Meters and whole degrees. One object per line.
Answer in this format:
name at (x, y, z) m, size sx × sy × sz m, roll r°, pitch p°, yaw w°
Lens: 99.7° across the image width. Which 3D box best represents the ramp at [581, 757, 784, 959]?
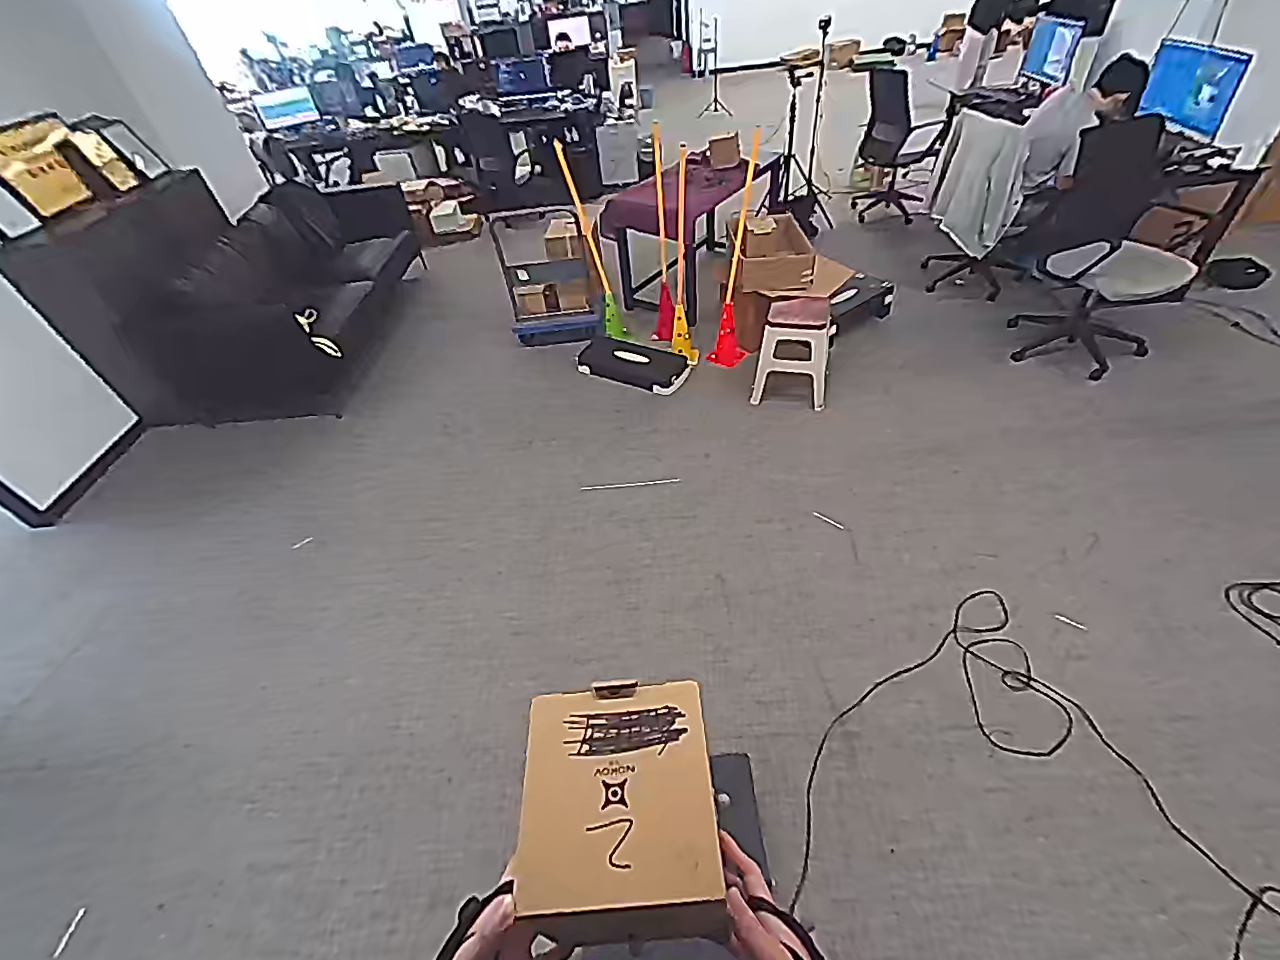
ramp at (0.097, 1.159, 1.275) m, size 0.509 × 0.206 × 0.991 m, roll -7°, pitch 43°, yaw 3°
